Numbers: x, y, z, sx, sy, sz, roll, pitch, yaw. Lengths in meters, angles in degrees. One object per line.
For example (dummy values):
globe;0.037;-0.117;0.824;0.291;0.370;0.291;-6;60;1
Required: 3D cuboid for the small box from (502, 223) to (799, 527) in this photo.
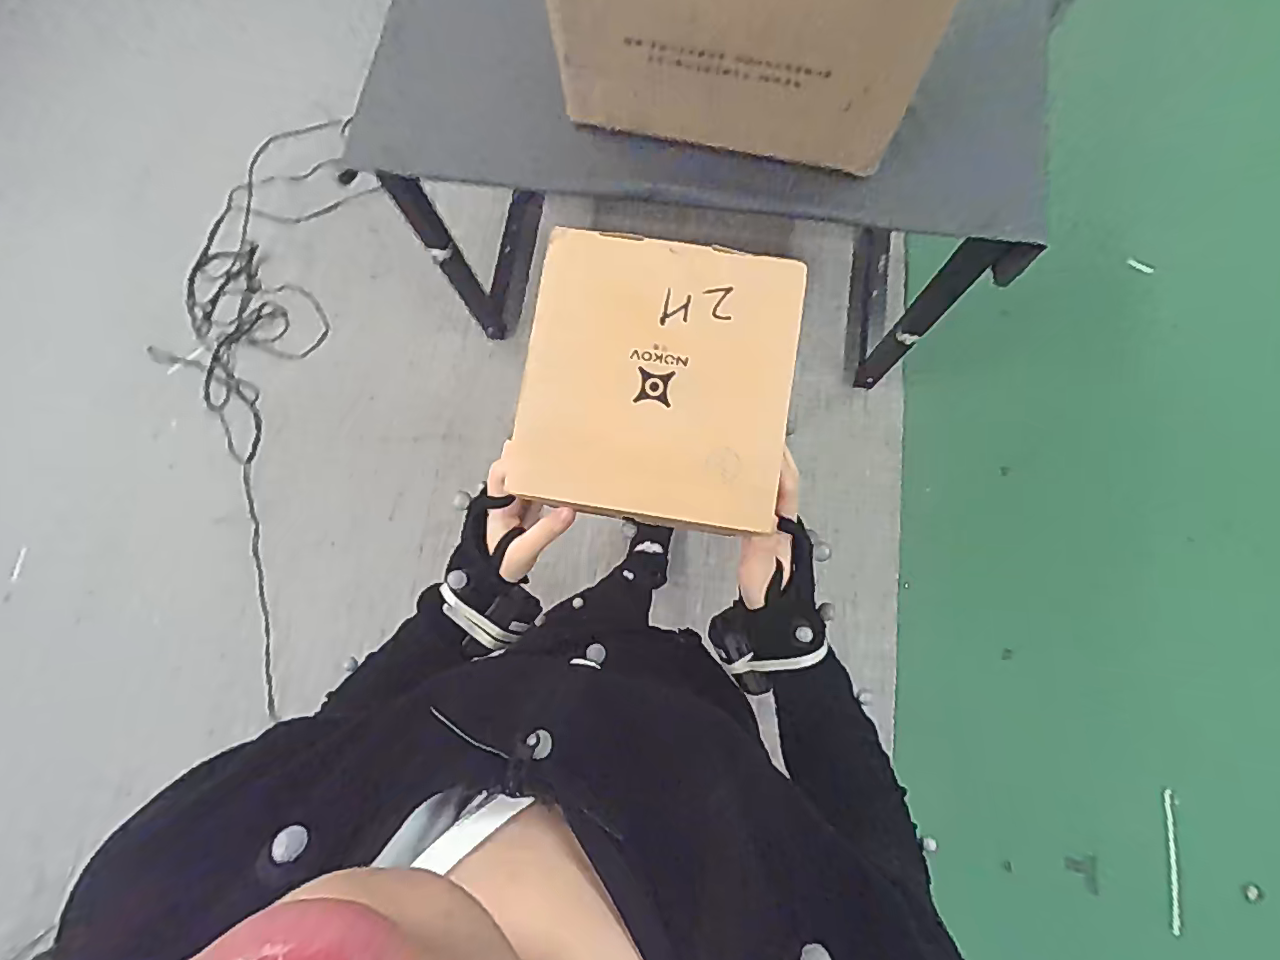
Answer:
small box;0.009;-0.062;0.418;0.168;0.176;0.179;9;85;2
